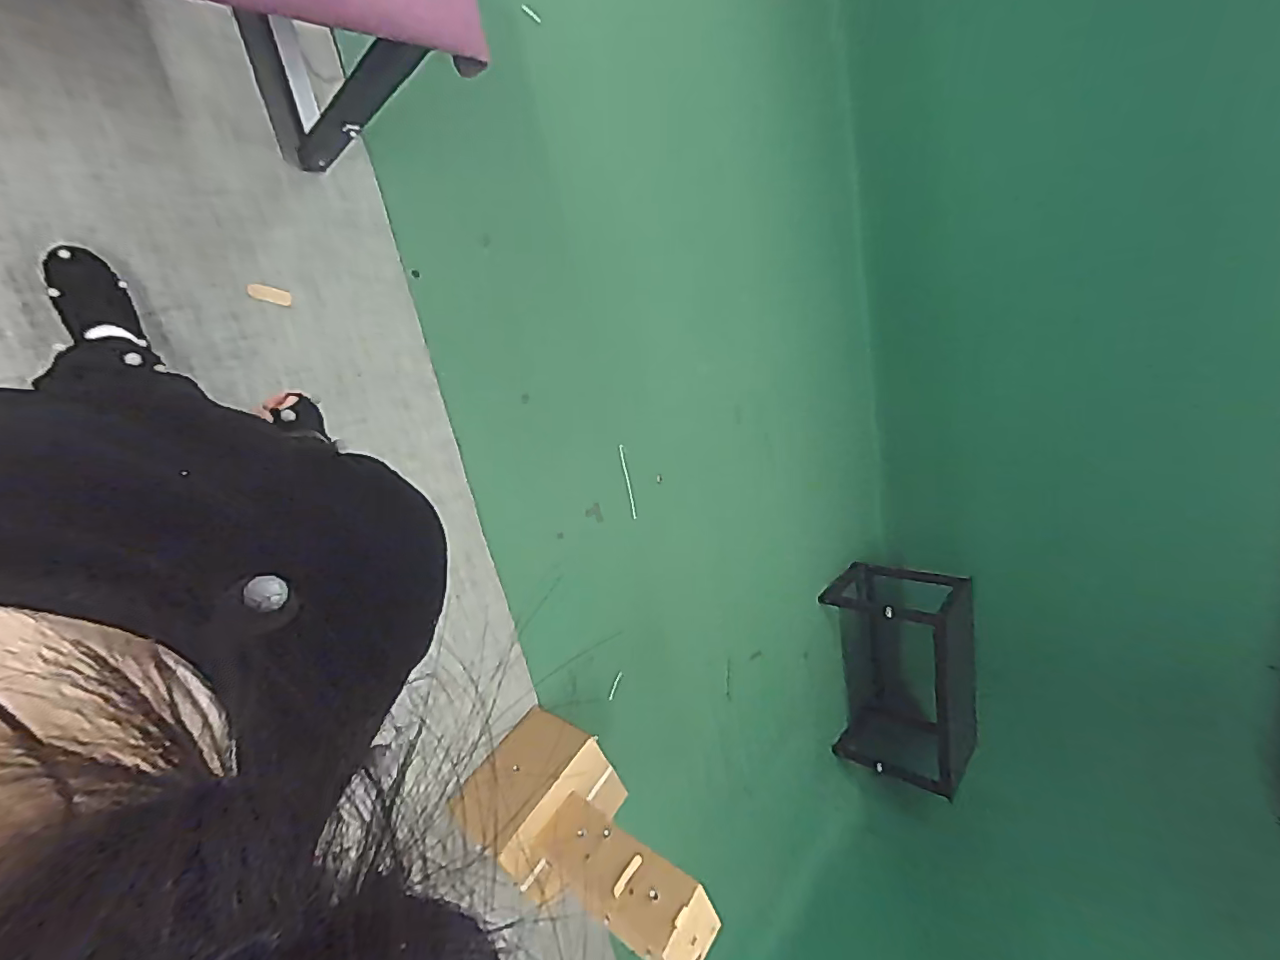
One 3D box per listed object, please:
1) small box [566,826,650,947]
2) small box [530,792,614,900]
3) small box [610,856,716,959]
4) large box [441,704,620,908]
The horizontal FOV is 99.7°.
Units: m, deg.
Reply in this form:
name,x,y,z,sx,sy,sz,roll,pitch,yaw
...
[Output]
name,x,y,z,sx,sy,sz,roll,pitch,yaw
small box,-0.068,1.061,1.432,0.168,0.176,0.179,-37,117,-38
small box,-0.181,1.045,1.550,0.179,0.176,0.168,-39,118,-37
small box,0.053,1.069,1.321,0.168,0.176,0.179,-38,117,-37
large box,-0.341,1.018,1.735,0.408,0.320,0.320,-43,123,-37
